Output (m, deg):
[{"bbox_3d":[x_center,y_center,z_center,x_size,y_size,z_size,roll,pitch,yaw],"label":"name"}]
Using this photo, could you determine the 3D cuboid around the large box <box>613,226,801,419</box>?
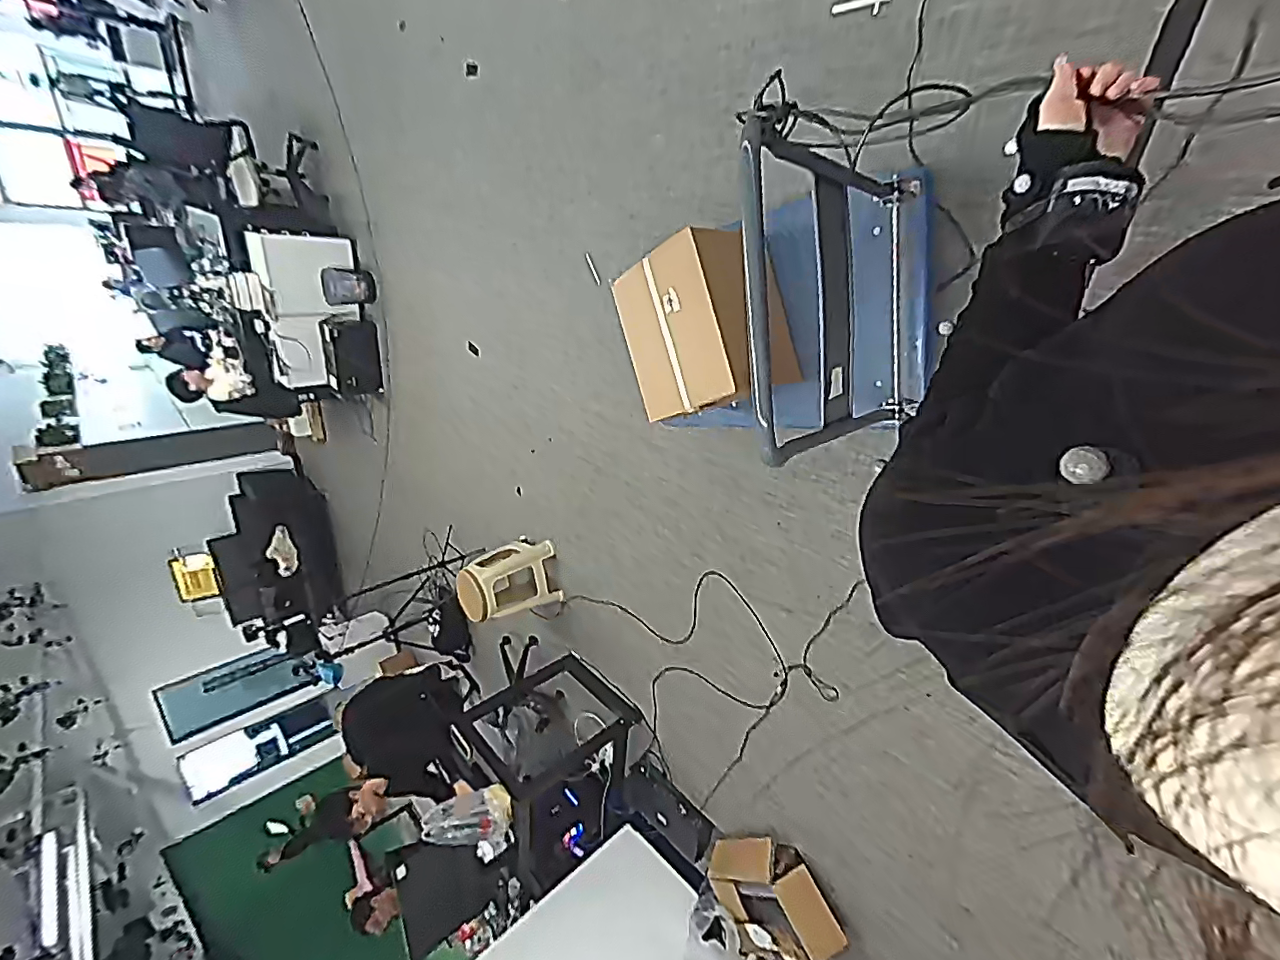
[{"bbox_3d":[0.184,-0.413,1.472,0.320,0.320,0.408,-14,93,48],"label":"large box"}]
